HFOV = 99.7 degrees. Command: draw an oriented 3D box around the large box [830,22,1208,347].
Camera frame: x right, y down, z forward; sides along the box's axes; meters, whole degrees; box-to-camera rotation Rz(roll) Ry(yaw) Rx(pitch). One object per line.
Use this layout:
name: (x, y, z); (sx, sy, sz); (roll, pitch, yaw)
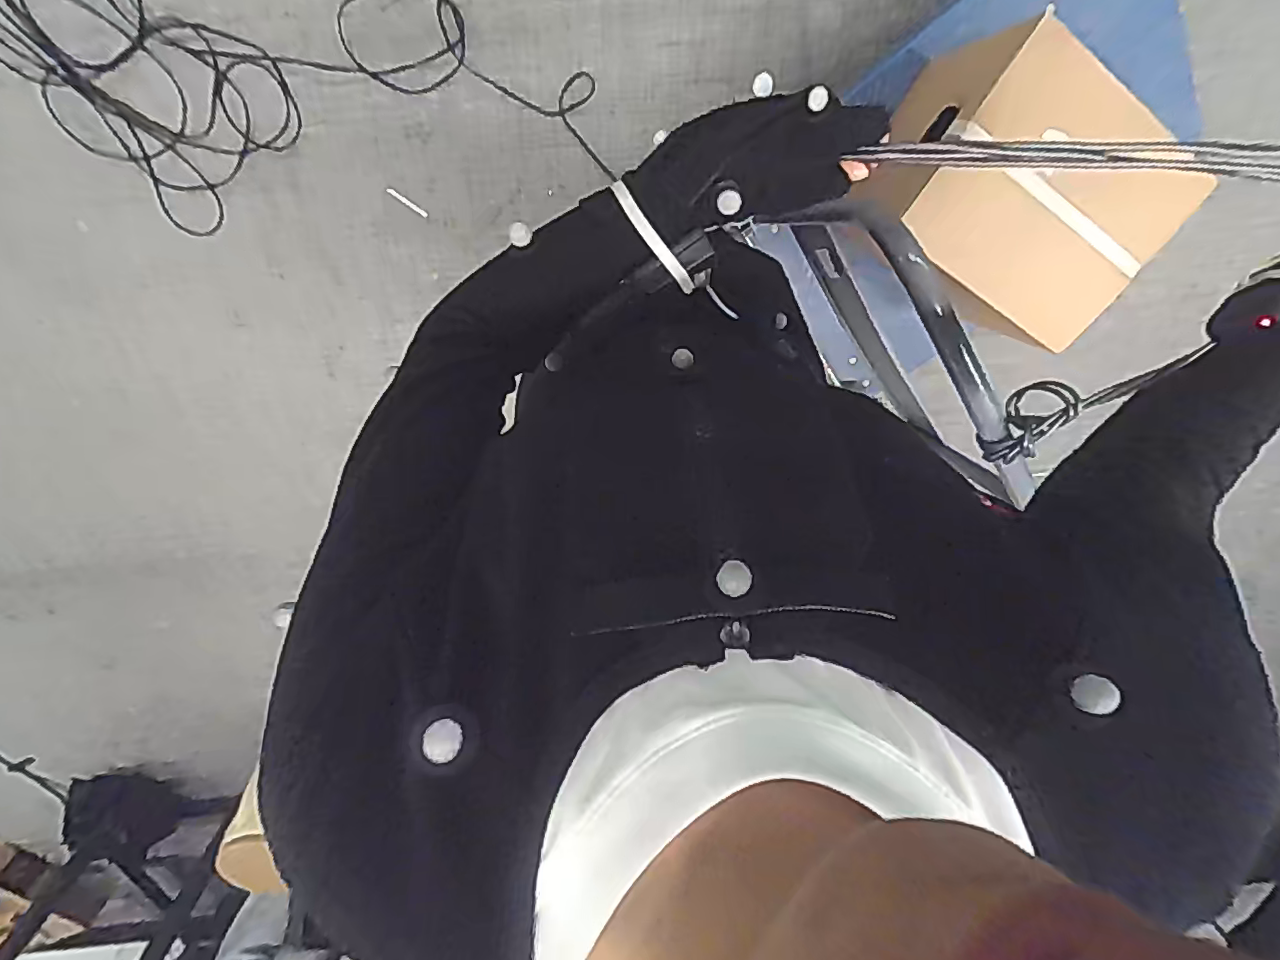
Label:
large box: (0.639, -0.504, 0.983); (0.408, 0.320, 0.320); (27, 113, -15)
